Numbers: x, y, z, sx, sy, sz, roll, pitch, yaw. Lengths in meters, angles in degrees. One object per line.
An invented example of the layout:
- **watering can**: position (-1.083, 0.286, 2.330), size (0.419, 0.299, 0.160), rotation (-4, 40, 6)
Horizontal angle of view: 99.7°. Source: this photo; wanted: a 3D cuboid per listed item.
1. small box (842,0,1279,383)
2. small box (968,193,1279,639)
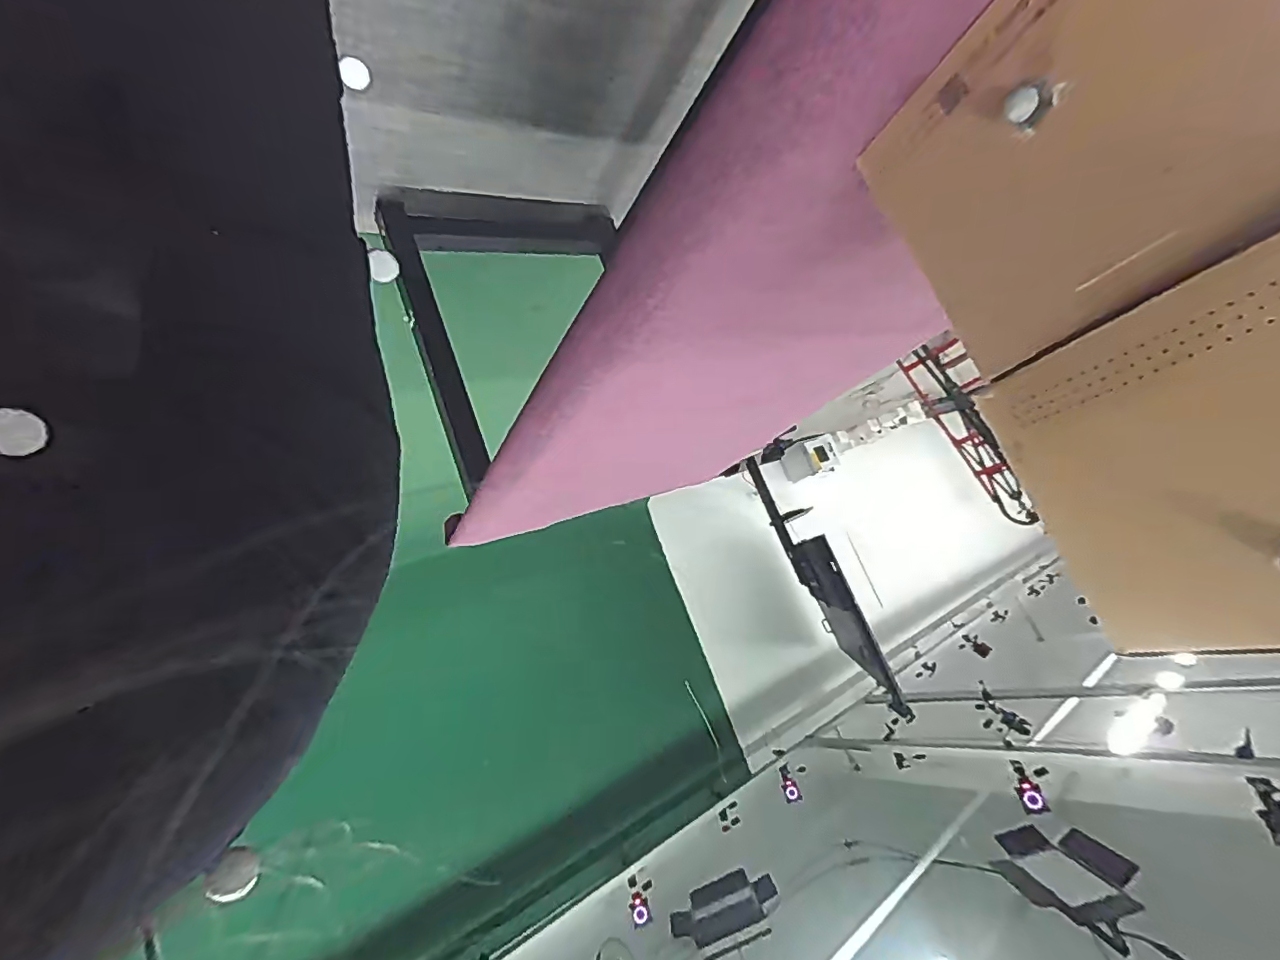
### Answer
- **small box**: position (0.261, -0.182, 0.317), size (0.179, 0.176, 0.168), rotation (-17, 168, -29)
- **small box**: position (0.314, -0.031, 0.284), size (0.168, 0.176, 0.179), rotation (-18, 168, -25)
